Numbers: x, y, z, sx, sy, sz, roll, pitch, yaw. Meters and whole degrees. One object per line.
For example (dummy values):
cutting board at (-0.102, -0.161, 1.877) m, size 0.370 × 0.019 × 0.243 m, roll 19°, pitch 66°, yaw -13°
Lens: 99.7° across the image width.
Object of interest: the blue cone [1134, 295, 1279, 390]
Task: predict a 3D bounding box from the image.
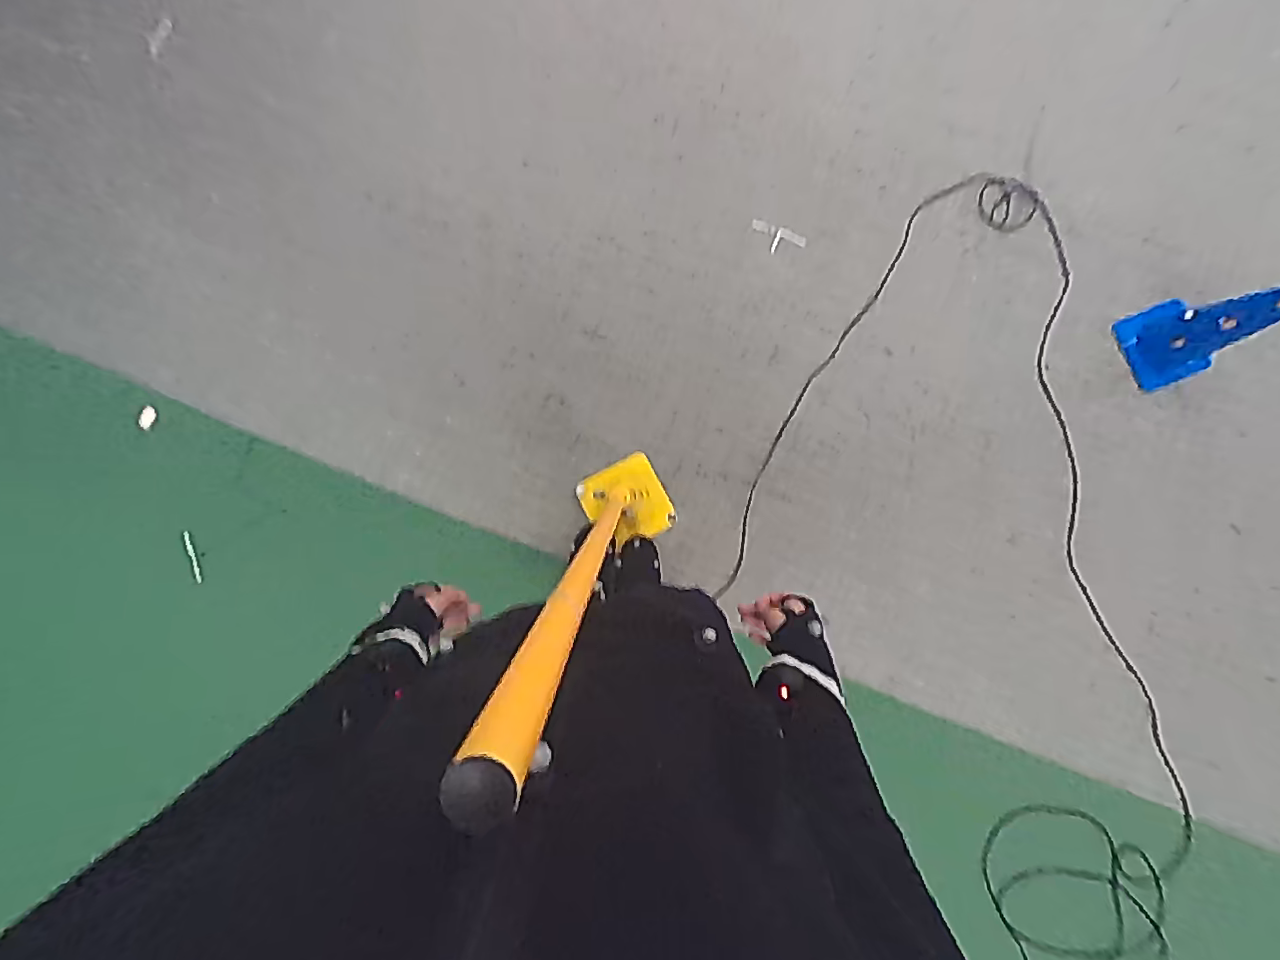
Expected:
blue cone at (1.347, -0.356, 1.185) m, size 0.193 × 0.380 × 0.192 m, roll -23°, pitch 86°, yaw -3°
